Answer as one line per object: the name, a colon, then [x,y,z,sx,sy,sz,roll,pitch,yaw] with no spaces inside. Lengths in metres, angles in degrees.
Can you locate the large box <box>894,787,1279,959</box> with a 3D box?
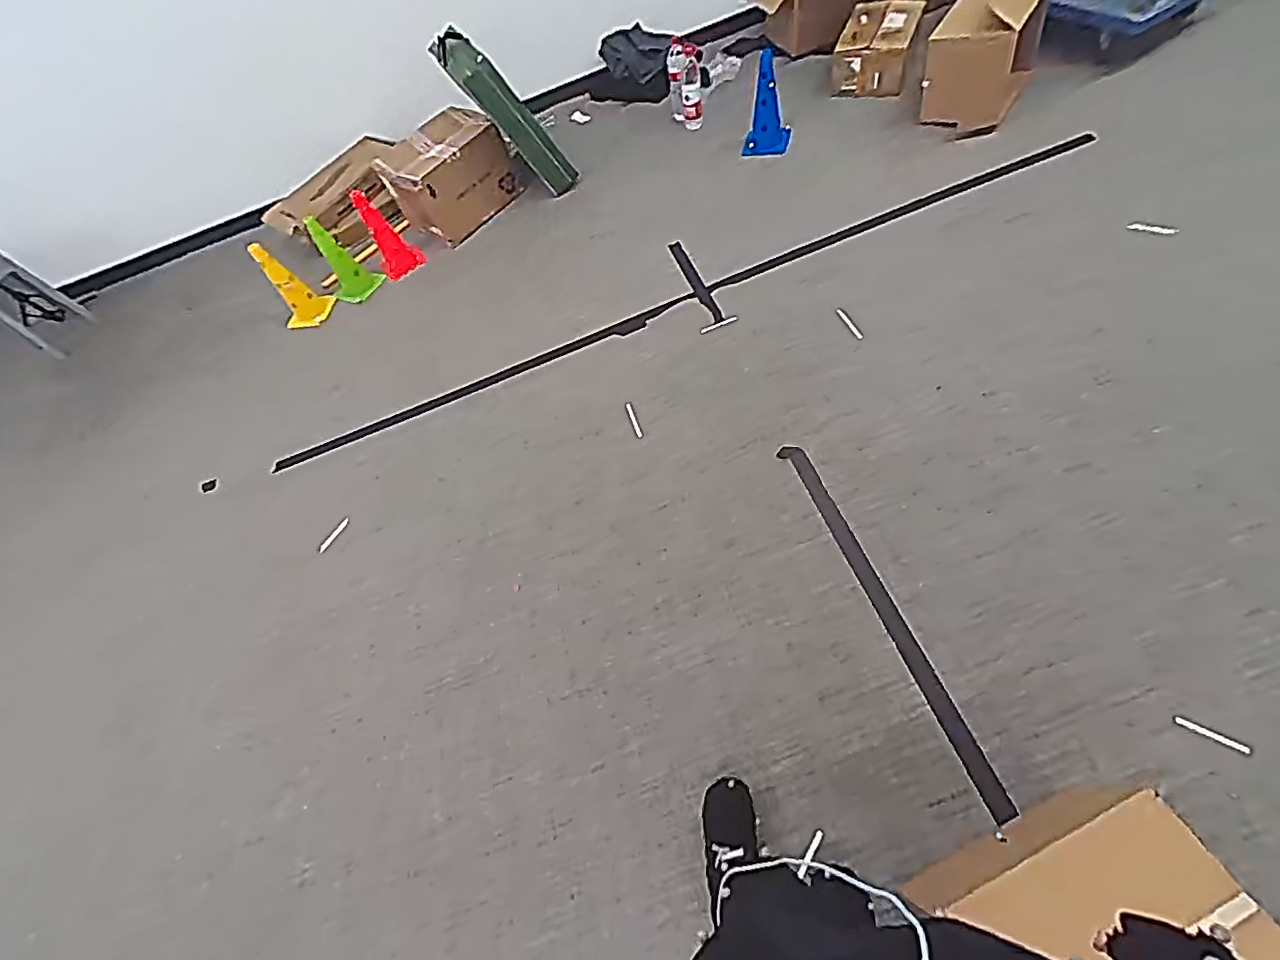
large box: [0.705,0.763,0.879,0.408,0.320,0.320,-27,58,-5]
